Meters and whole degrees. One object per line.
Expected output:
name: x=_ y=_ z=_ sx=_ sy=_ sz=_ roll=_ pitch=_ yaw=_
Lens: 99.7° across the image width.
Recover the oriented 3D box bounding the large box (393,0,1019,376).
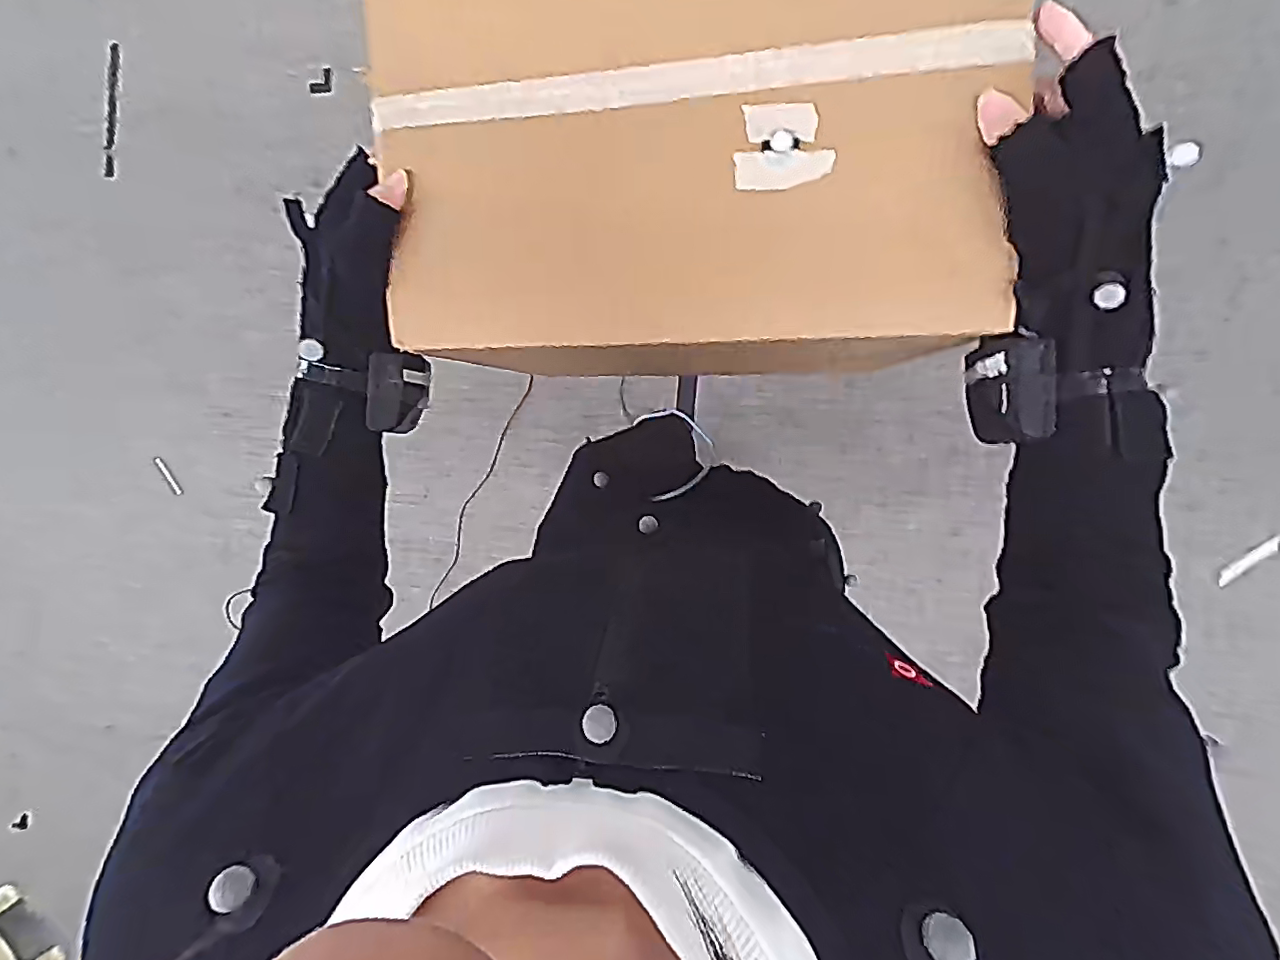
large box: x=0.048 y=-0.270 z=0.497 sx=0.408 sy=0.320 sz=0.320 roll=0 pitch=98 yaw=9
